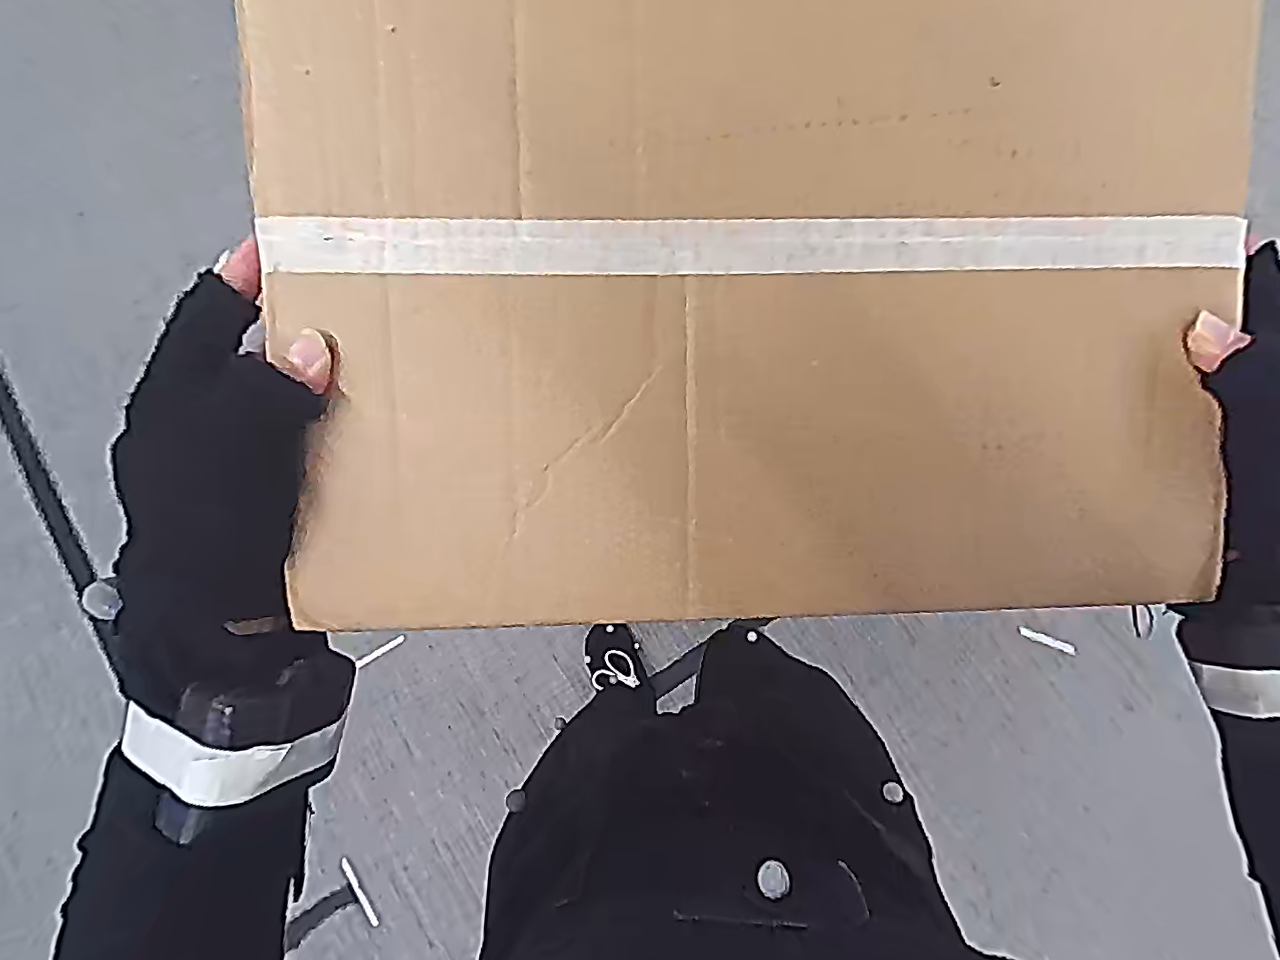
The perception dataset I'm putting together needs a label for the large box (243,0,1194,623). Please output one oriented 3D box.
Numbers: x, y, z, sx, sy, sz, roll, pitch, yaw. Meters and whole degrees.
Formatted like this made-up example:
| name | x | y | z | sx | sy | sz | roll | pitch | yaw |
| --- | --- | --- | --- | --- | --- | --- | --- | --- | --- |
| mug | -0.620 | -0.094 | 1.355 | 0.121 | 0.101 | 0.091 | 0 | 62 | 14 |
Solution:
| name | x | y | z | sx | sy | sz | roll | pitch | yaw |
| --- | --- | --- | --- | --- | --- | --- | --- | --- | --- |
| large box | 0.037 | -0.113 | 0.383 | 0.408 | 0.320 | 0.320 | -2 | 95 | -3 |
